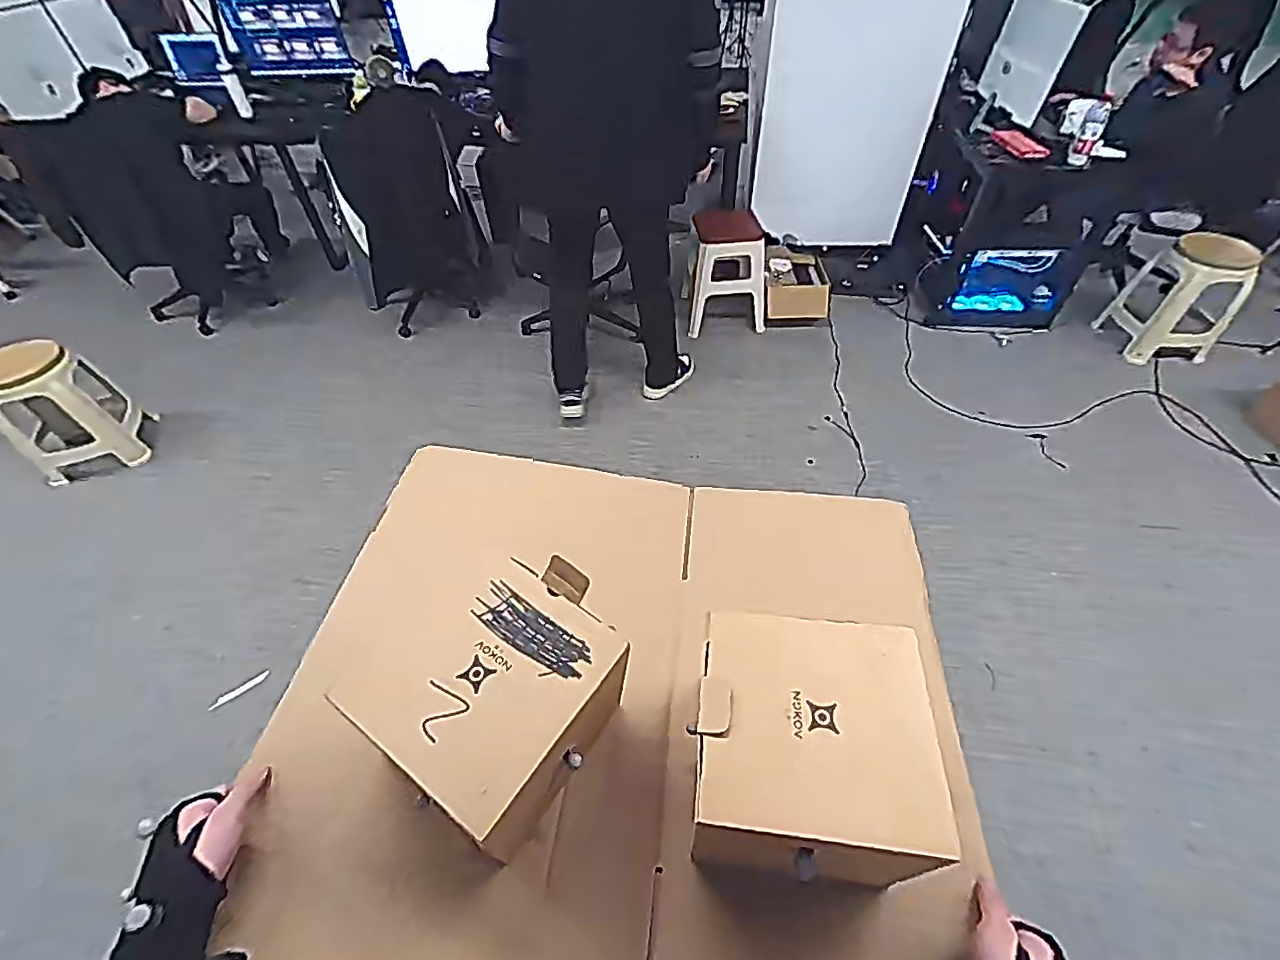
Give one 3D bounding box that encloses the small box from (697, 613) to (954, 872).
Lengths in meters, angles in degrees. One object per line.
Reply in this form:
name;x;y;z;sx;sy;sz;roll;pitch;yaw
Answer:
small box;0.146;0.240;0.490;0.179;0.176;0.168;3;49;8
